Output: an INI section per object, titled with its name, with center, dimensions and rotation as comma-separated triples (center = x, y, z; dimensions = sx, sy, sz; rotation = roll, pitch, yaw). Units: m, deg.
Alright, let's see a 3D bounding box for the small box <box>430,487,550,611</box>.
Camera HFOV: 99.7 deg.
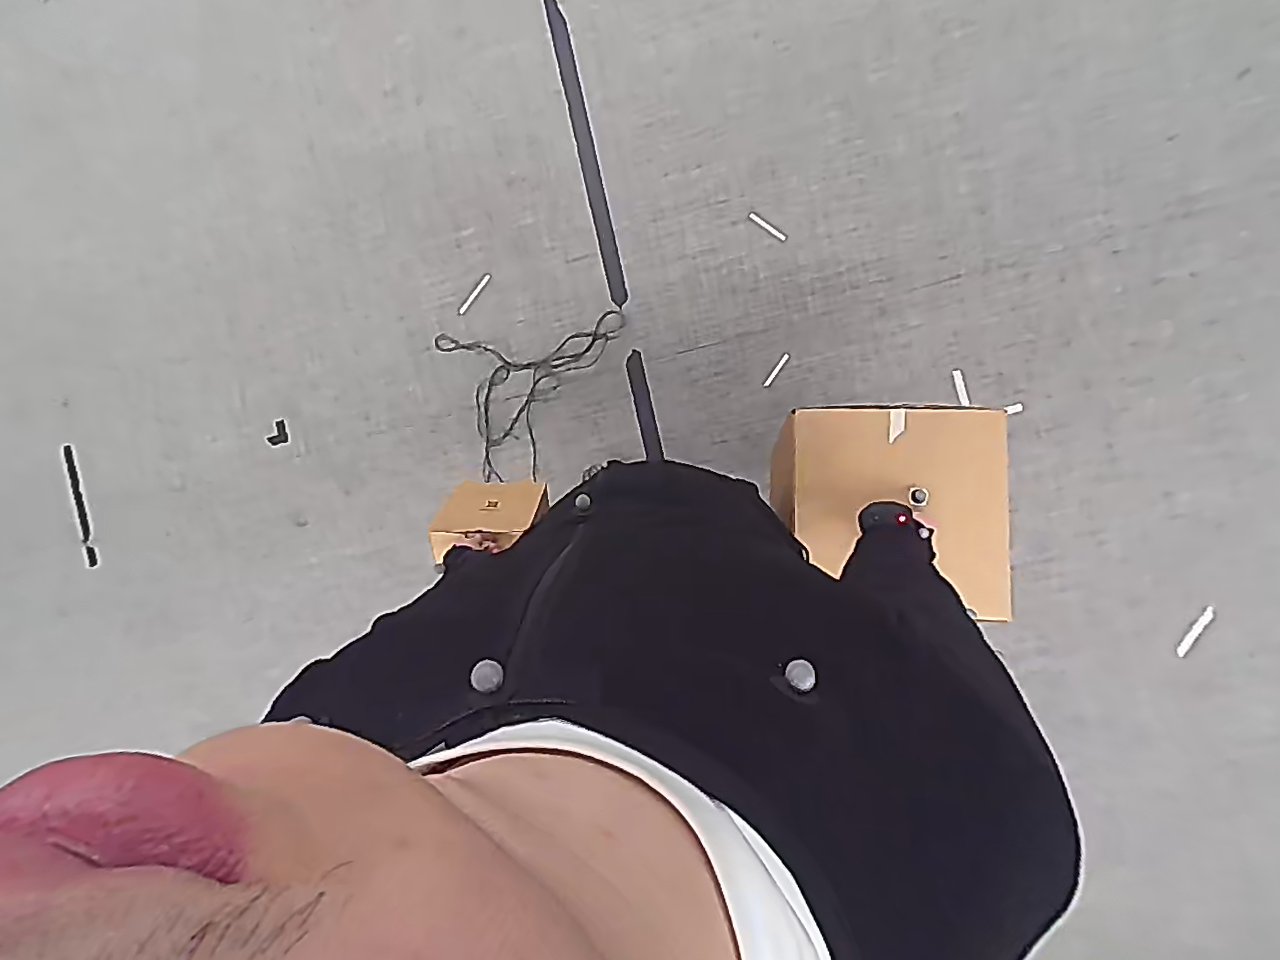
[small box]
center = -0.263, 0.126, 0.995
dimensions = 0.168, 0.179, 0.176
rotation = 0, 116, 0
